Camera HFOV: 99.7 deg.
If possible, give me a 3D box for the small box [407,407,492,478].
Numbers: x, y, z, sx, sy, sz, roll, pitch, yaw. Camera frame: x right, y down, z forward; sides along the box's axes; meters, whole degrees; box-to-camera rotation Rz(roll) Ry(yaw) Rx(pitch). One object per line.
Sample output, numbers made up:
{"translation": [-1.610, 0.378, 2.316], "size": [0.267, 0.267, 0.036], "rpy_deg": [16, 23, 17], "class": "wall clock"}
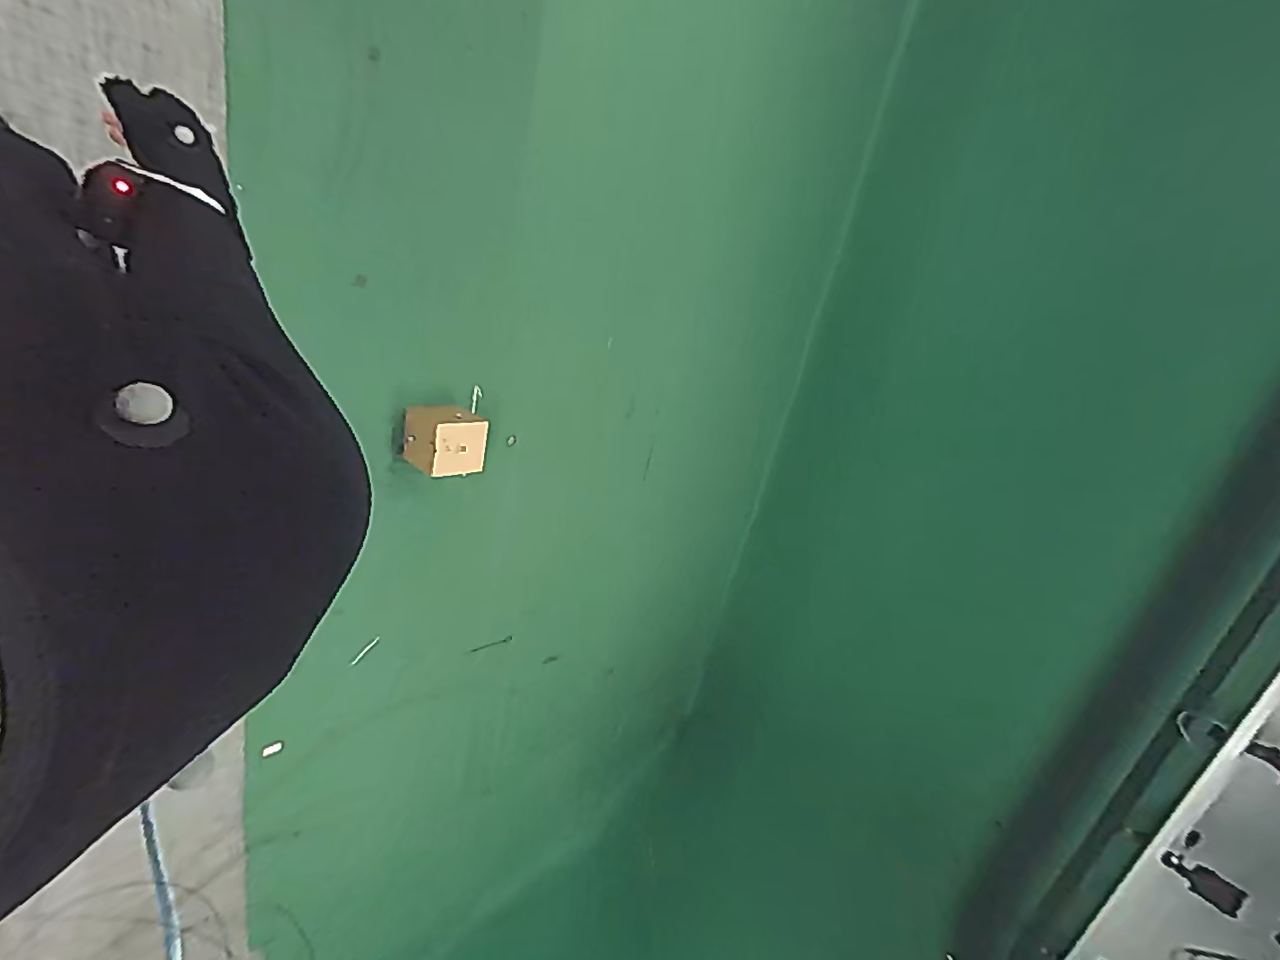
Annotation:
{"translation": [-0.582, -0.121, 1.649], "size": [0.179, 0.176, 0.168], "rpy_deg": [-10, 120, -50], "class": "small box"}
